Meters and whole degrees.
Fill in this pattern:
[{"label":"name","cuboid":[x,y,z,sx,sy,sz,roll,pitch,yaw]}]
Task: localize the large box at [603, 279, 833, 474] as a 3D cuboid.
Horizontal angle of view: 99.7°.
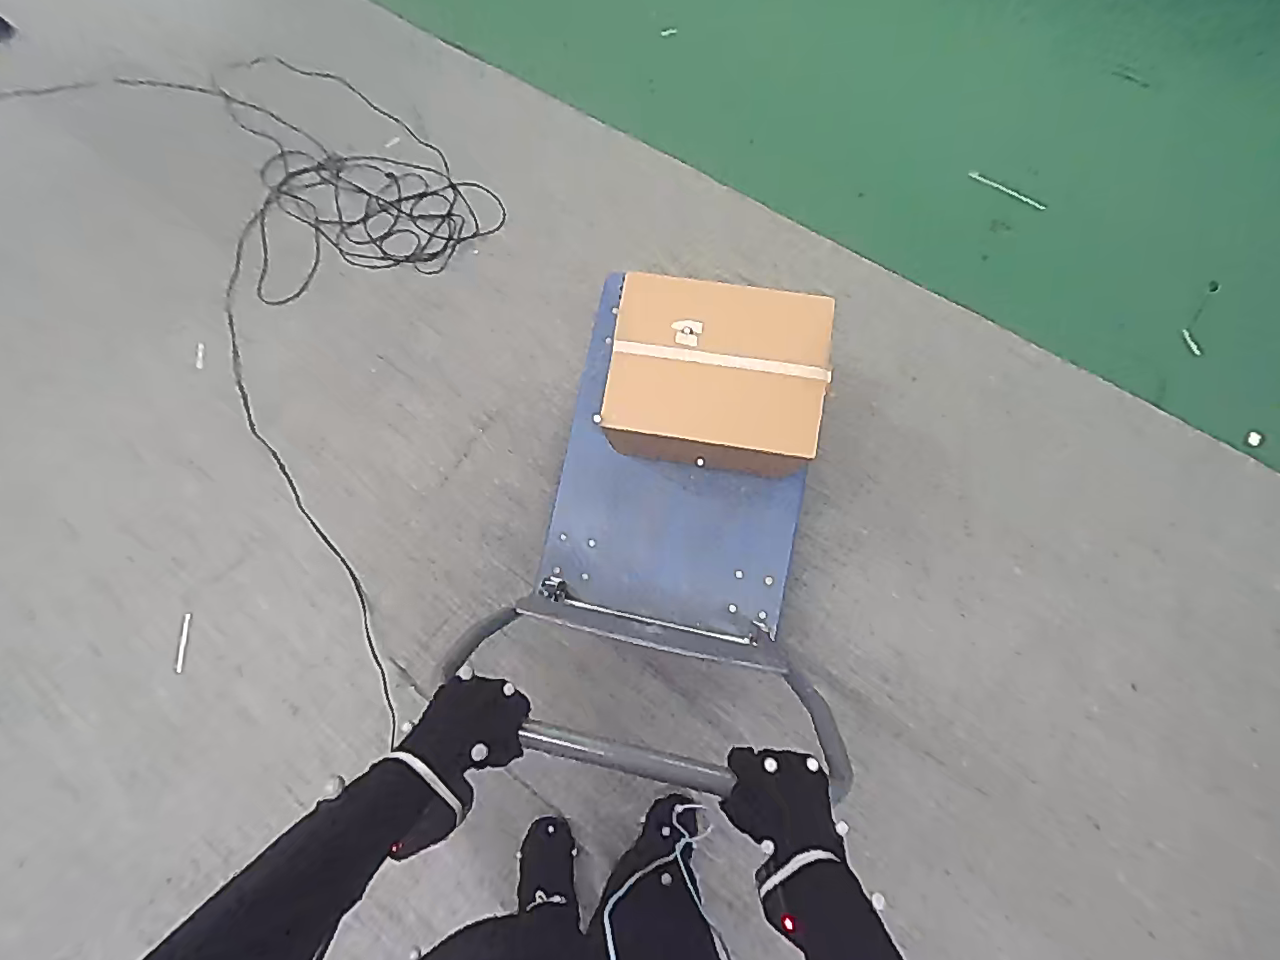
[{"label":"large box","cuboid":[0.160,-0.200,1.159,0.408,0.320,0.320,8,84,6]}]
